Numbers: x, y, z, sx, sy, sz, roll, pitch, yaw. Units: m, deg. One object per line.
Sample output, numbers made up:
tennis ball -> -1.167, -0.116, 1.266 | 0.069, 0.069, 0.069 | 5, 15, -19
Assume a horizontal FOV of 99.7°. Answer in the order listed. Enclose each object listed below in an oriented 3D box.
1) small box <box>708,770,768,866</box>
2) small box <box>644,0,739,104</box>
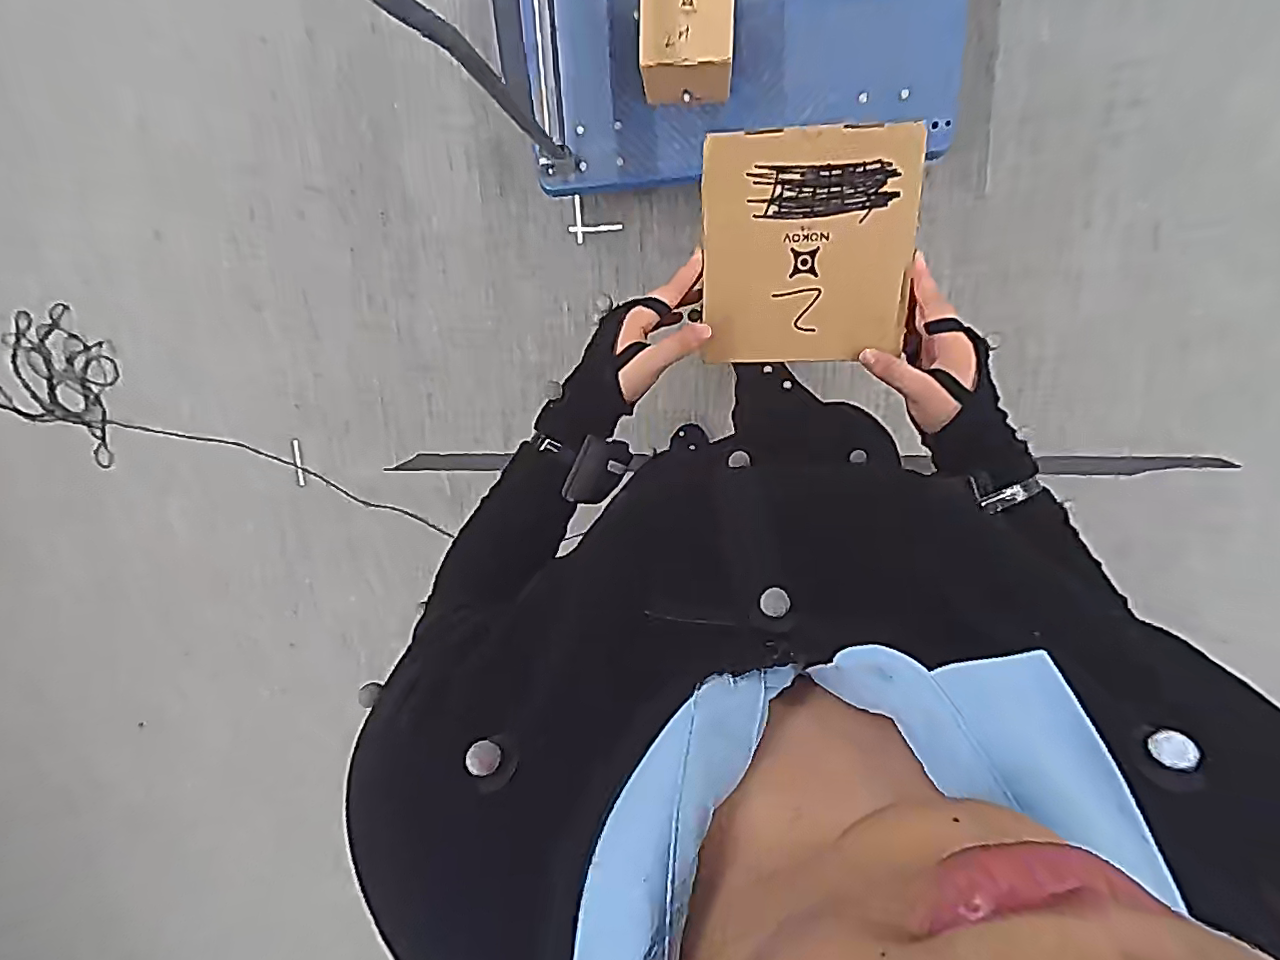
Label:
small box -> 0.291, 1.007, 1.619 | 0.168, 0.176, 0.179 | -2, 102, 6
small box -> 0.097, -0.838, 1.010 | 0.168, 0.176, 0.179 | 2, 104, 6
